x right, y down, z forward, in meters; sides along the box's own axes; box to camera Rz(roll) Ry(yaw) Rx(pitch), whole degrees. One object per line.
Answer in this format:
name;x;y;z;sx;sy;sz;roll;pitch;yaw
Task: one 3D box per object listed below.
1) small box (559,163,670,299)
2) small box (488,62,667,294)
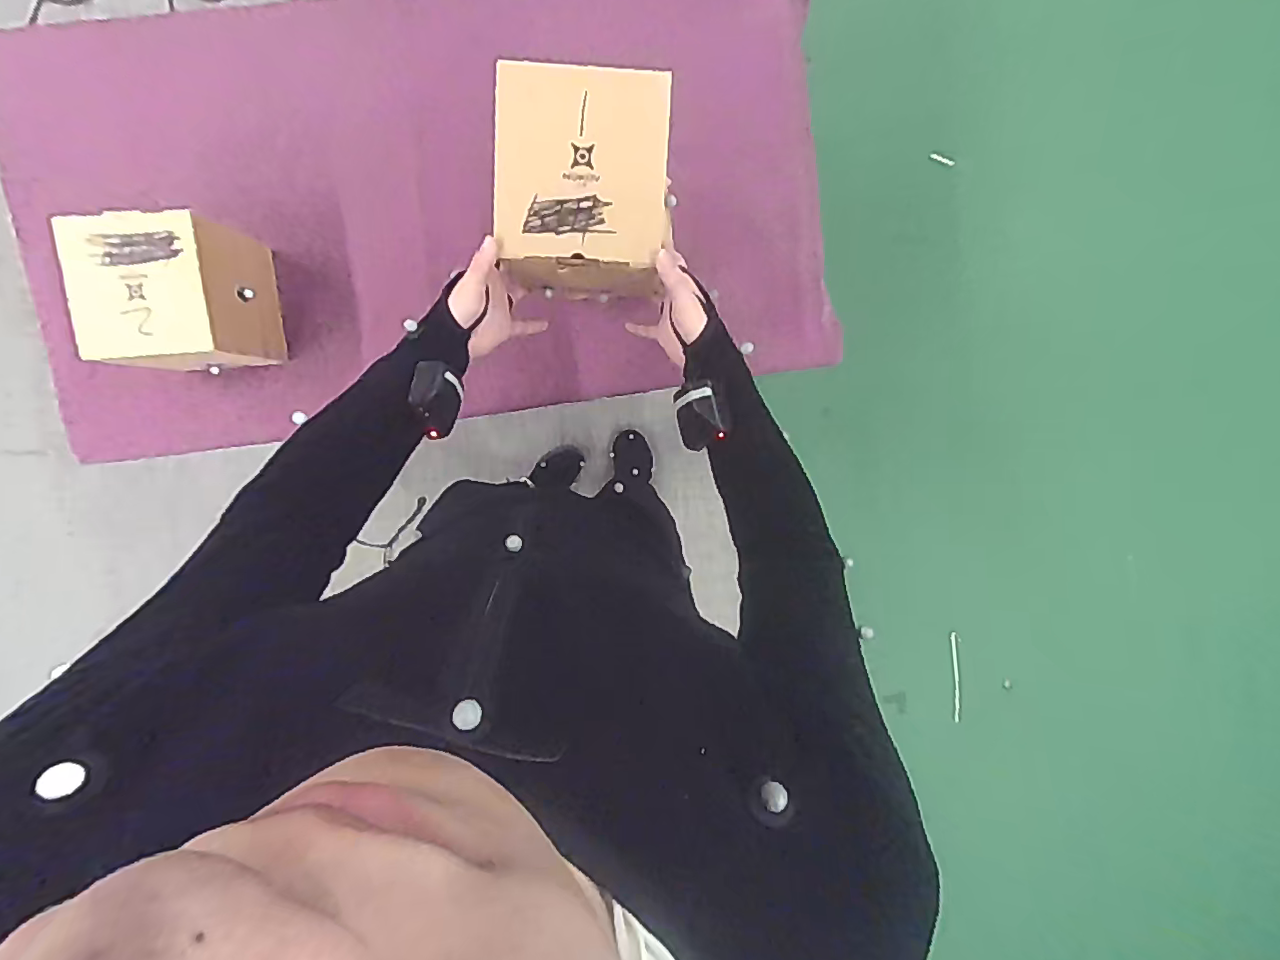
small box;-0.052;-0.374;0.779;0.168;0.176;0.179;-6;97;-2
small box;-0.062;-0.310;0.594;0.168;0.176;0.179;4;99;-1
